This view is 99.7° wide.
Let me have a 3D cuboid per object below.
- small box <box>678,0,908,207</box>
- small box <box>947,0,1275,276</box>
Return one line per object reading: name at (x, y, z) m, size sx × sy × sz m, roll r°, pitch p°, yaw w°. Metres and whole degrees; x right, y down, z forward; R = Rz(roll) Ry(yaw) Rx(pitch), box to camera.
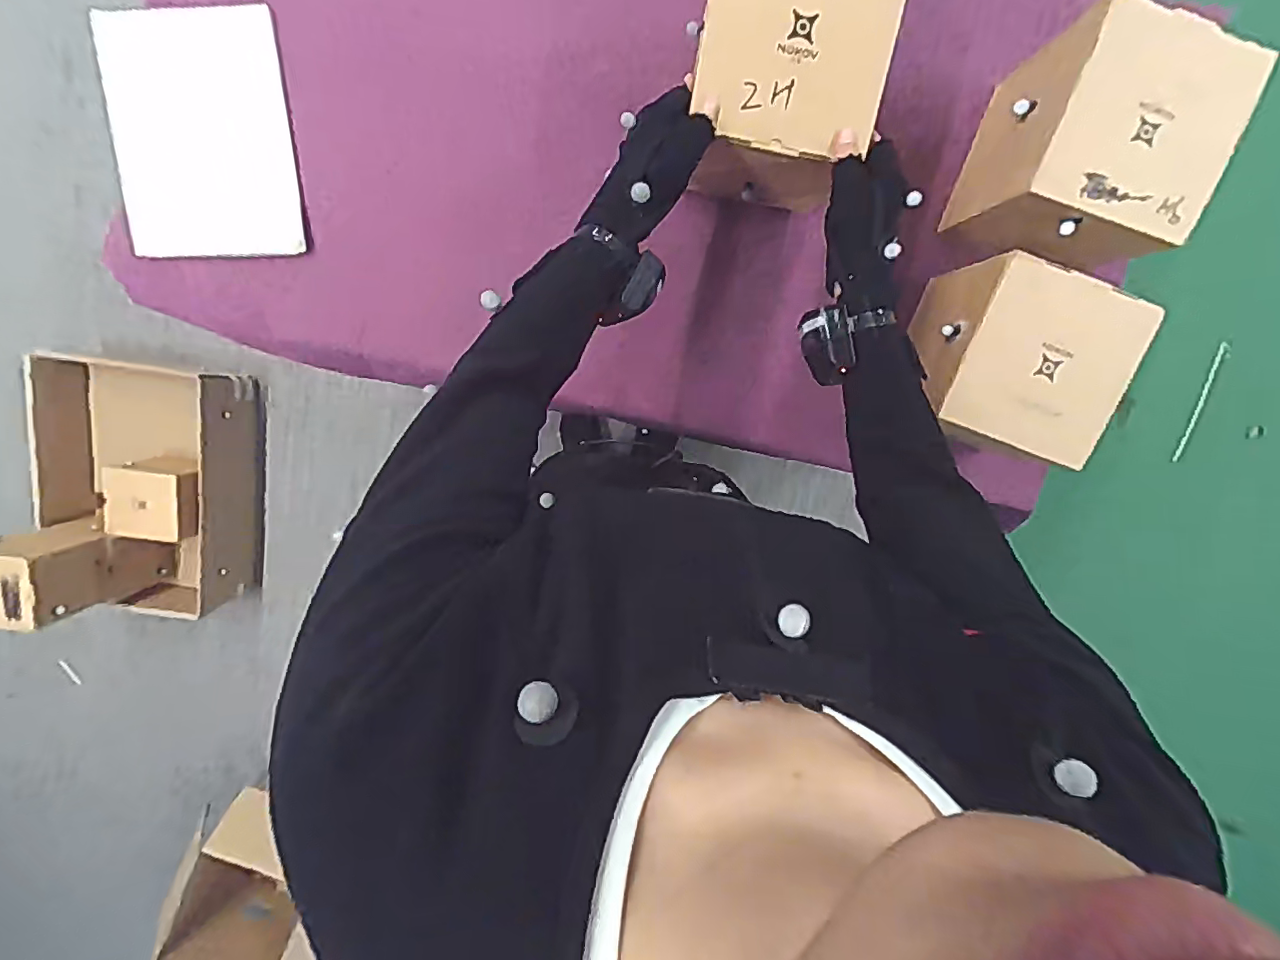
small box at (0.135, -0.396, 0.536) m, size 0.168 × 0.176 × 0.179 m, roll 10°, pitch 105°, yaw -3°
small box at (0.469, -0.341, 0.575) m, size 0.168 × 0.176 × 0.179 m, roll 18°, pitch 101°, yaw -3°
